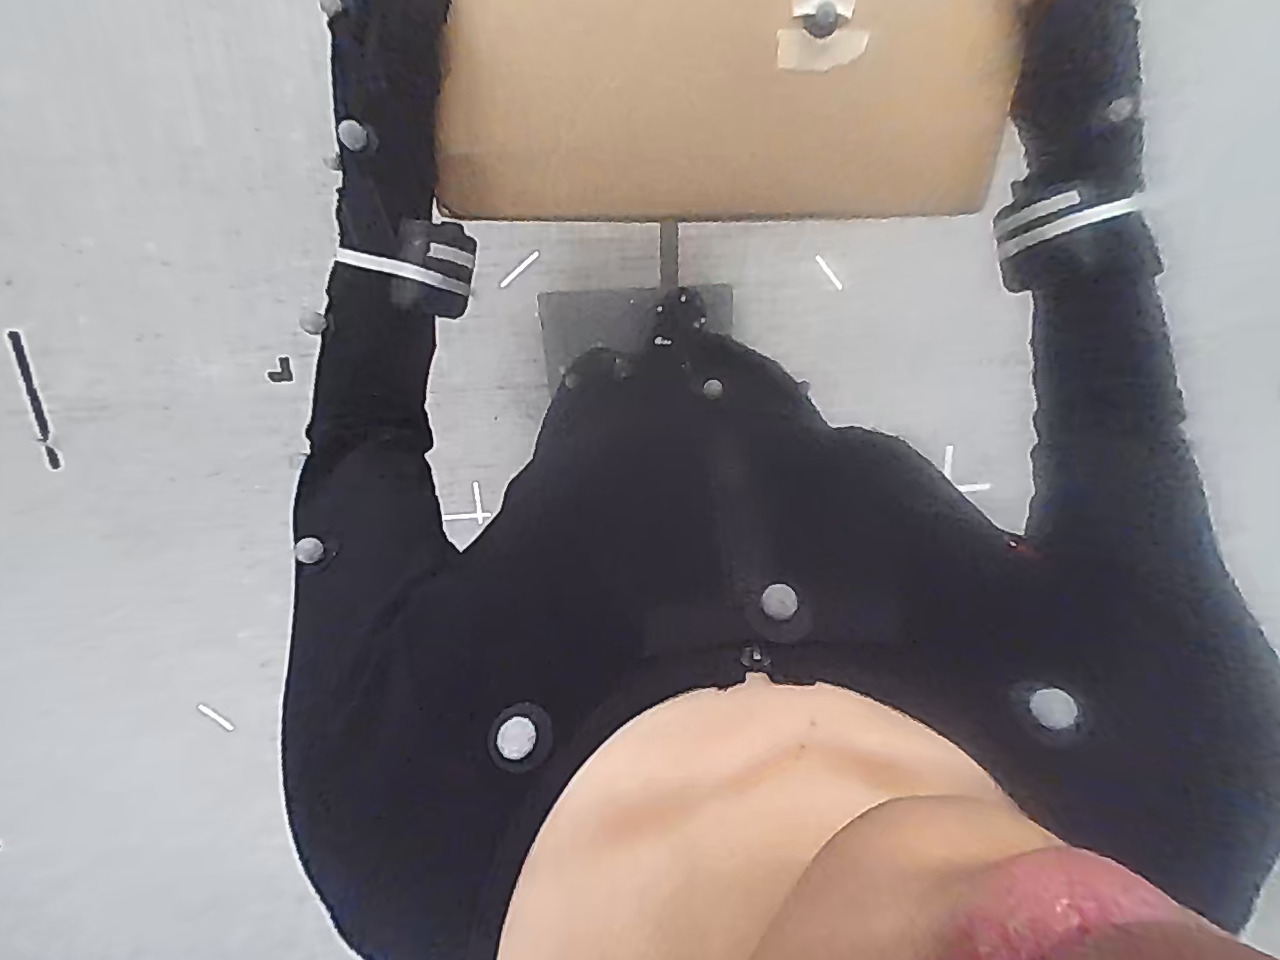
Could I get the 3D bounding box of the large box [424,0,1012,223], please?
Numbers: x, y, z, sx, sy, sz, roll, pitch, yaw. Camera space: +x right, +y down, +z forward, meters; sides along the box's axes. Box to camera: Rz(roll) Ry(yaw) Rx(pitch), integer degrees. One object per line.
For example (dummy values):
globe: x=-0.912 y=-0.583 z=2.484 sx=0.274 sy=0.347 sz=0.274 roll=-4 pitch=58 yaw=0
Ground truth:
large box: x=0.048 y=-0.411 z=0.486 sx=0.408 sy=0.320 sz=0.320 roll=-1 pitch=115 yaw=0

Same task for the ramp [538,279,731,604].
ramp: x=0.012 y=-0.048 z=1.572 sx=0.509 sy=0.206 sz=0.991 roll=-5 pitch=107 yaw=-1
